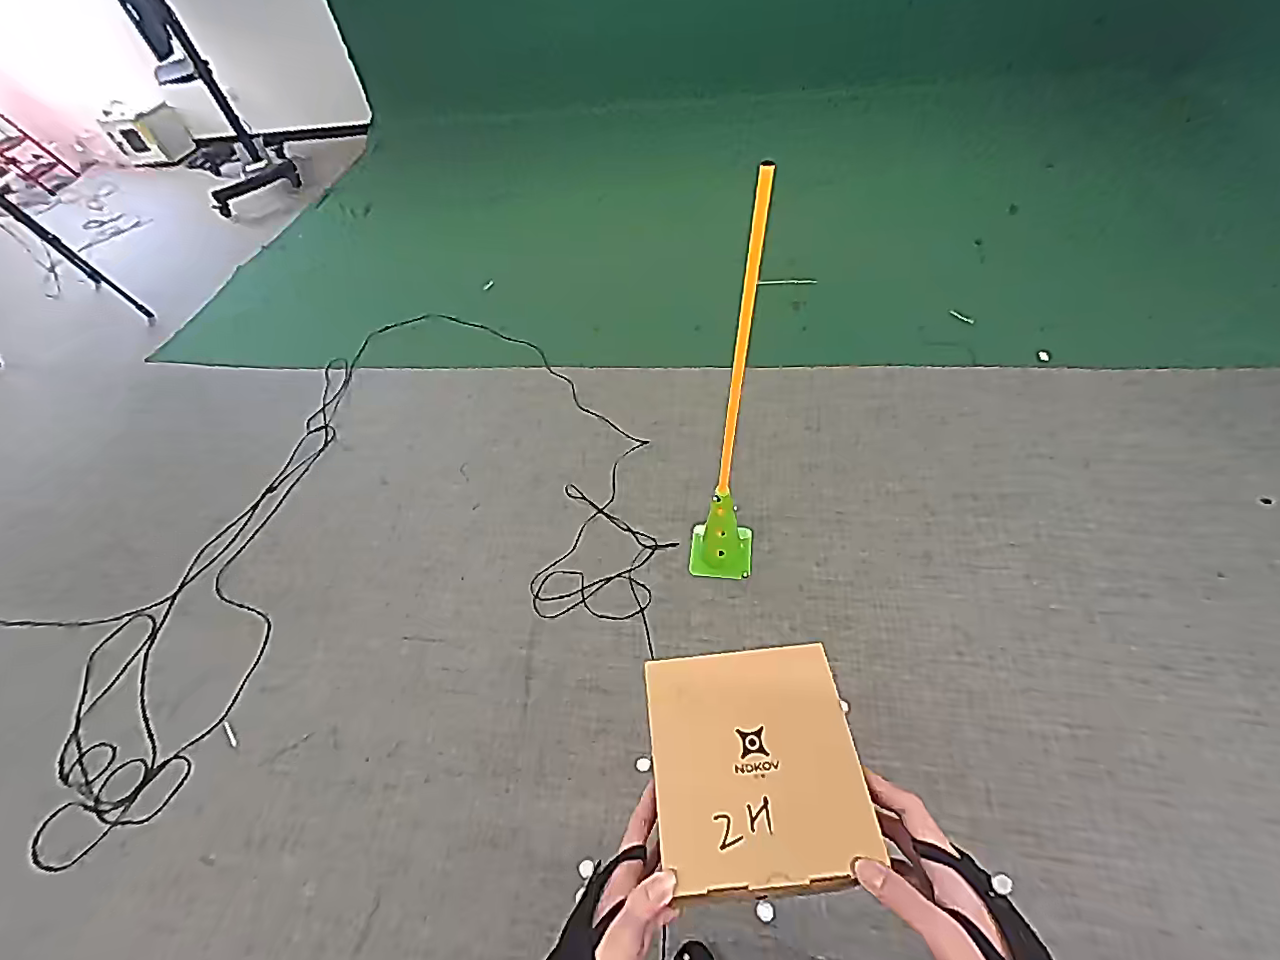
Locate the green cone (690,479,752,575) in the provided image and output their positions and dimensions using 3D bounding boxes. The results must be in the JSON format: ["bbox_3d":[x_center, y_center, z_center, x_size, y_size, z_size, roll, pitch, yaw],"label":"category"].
[{"bbox_3d":[0.252,0.120,1.678,0.202,0.368,0.200,2,52,11],"label":"green cone"}]
